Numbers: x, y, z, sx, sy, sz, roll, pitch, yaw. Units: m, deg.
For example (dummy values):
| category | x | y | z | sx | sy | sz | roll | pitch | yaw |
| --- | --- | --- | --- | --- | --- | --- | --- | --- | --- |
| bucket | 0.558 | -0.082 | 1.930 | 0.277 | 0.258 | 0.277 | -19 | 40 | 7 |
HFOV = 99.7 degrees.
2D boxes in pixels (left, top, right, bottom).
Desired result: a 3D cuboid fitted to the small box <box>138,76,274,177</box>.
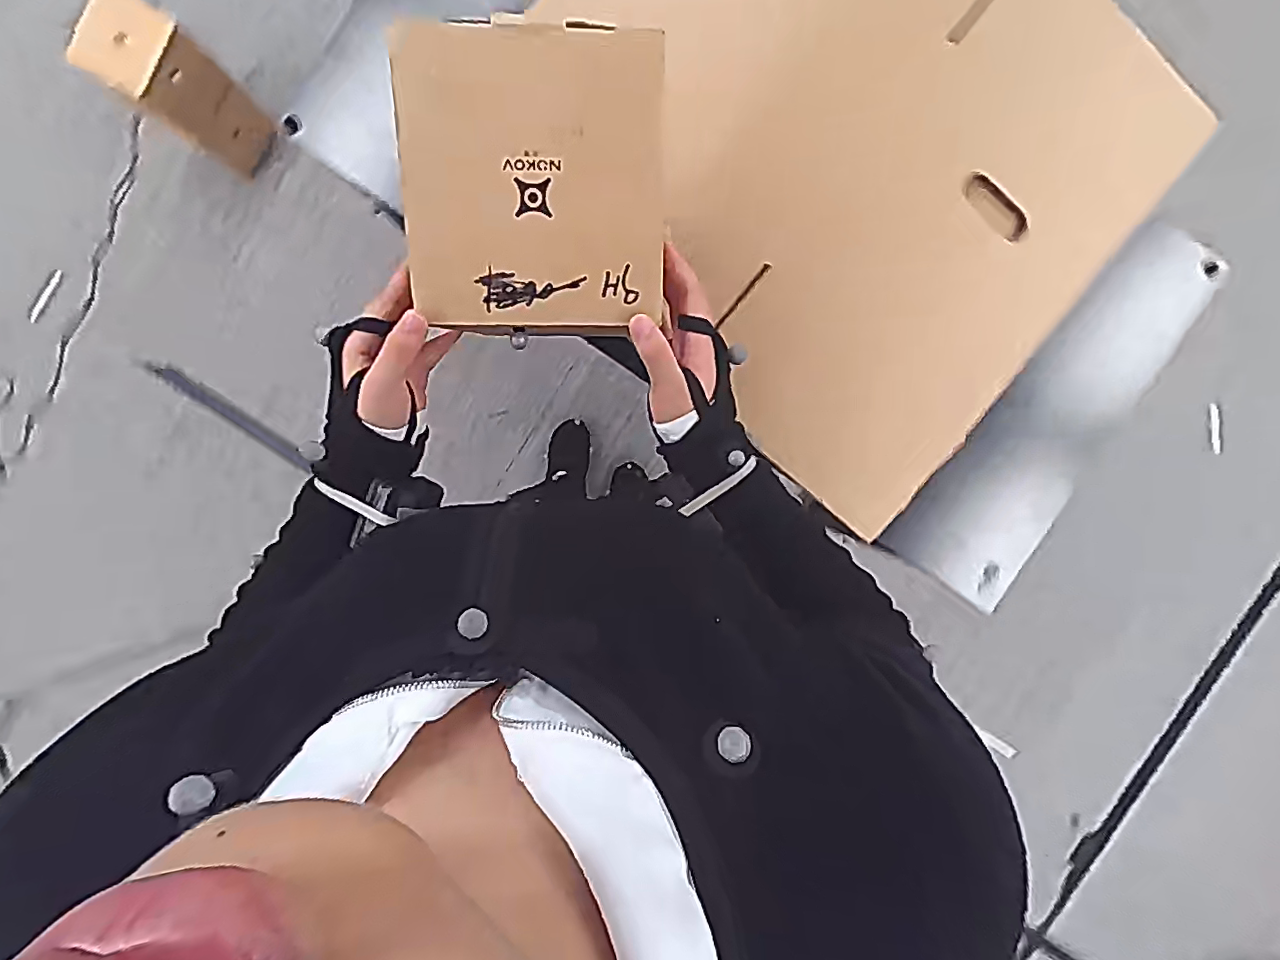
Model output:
| category | x | y | z | sx | sy | sz | roll | pitch | yaw |
| --- | --- | --- | --- | --- | --- | --- | --- | --- | --- |
| small box | -1.053 | -0.898 | 1.331 | 0.168 | 0.176 | 0.179 | 30 | 92 | -3 |

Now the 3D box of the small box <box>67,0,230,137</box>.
| category | x | y | z | sx | sy | sz | roll | pitch | yaw |
| --- | --- | --- | --- | --- | --- | --- | --- | --- | --- |
| small box | -1.045 | -0.895 | 1.169 | 0.168 | 0.176 | 0.179 | 27 | 91 | -4 |

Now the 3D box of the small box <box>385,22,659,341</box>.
| category | x | y | z | sx | sy | sz | roll | pitch | yaw |
| --- | --- | --- | --- | --- | --- | --- | --- | --- | --- |
| small box | -0.075 | -0.202 | 0.418 | 0.168 | 0.176 | 0.179 | -2 | 102 | -3 |
